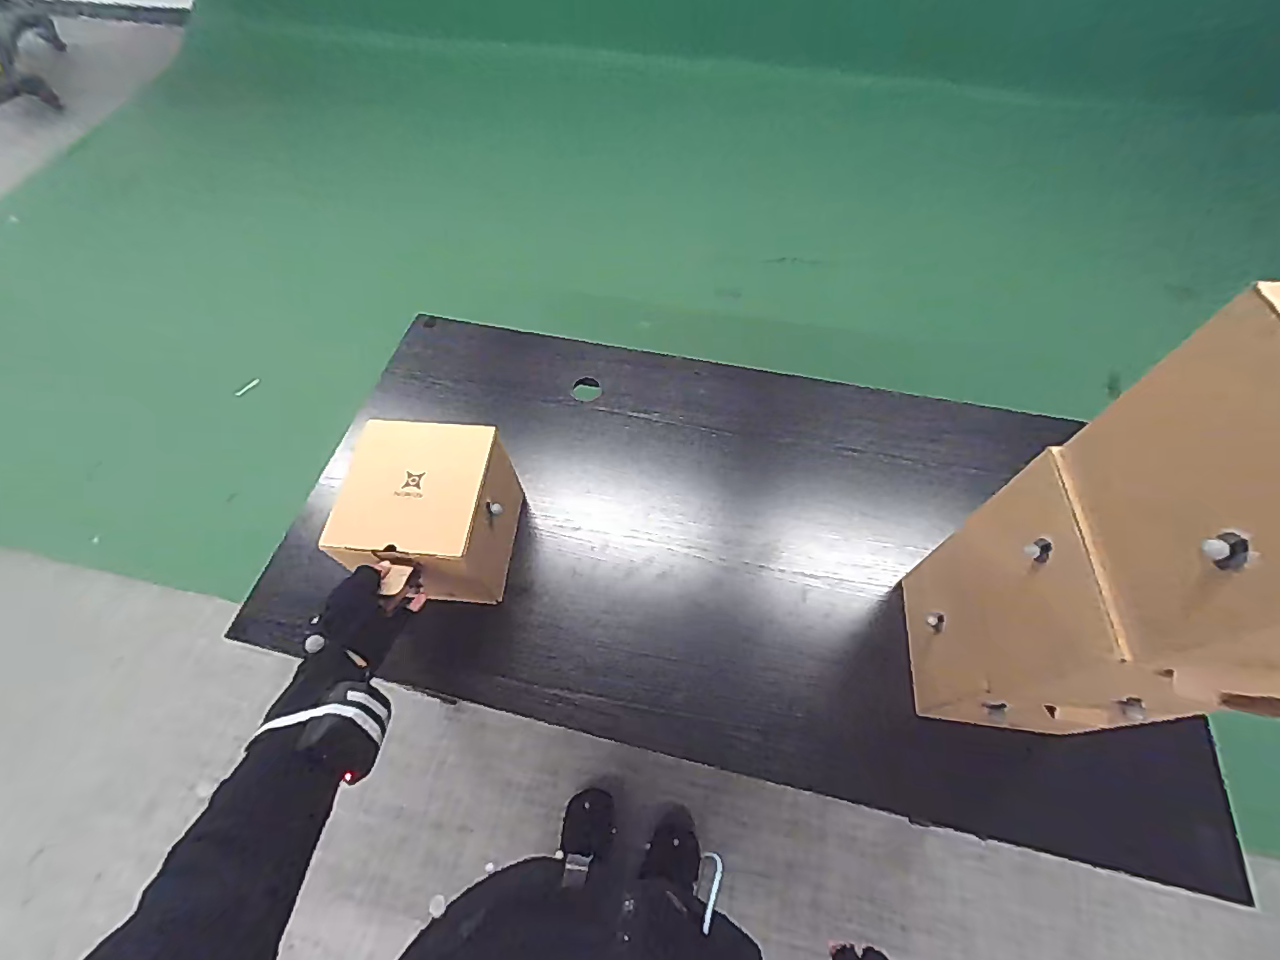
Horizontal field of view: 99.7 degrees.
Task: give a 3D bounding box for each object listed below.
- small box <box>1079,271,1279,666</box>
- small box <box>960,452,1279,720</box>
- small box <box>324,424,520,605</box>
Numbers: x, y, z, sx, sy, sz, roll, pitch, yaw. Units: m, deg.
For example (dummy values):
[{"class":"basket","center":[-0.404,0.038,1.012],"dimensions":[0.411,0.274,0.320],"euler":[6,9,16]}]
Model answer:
[{"class":"small box","center":[0.411,0.009,0.310],"dimensions":[0.168,0.176,0.179],"euler":[4,60,4]},{"class":"small box","center":[0.408,0.097,0.467],"dimensions":[0.168,0.176,0.179],"euler":[4,60,4]},{"class":"small box","center":[-0.262,0.049,0.703],"dimensions":[0.168,0.176,0.179],"euler":[4,62,3]}]
